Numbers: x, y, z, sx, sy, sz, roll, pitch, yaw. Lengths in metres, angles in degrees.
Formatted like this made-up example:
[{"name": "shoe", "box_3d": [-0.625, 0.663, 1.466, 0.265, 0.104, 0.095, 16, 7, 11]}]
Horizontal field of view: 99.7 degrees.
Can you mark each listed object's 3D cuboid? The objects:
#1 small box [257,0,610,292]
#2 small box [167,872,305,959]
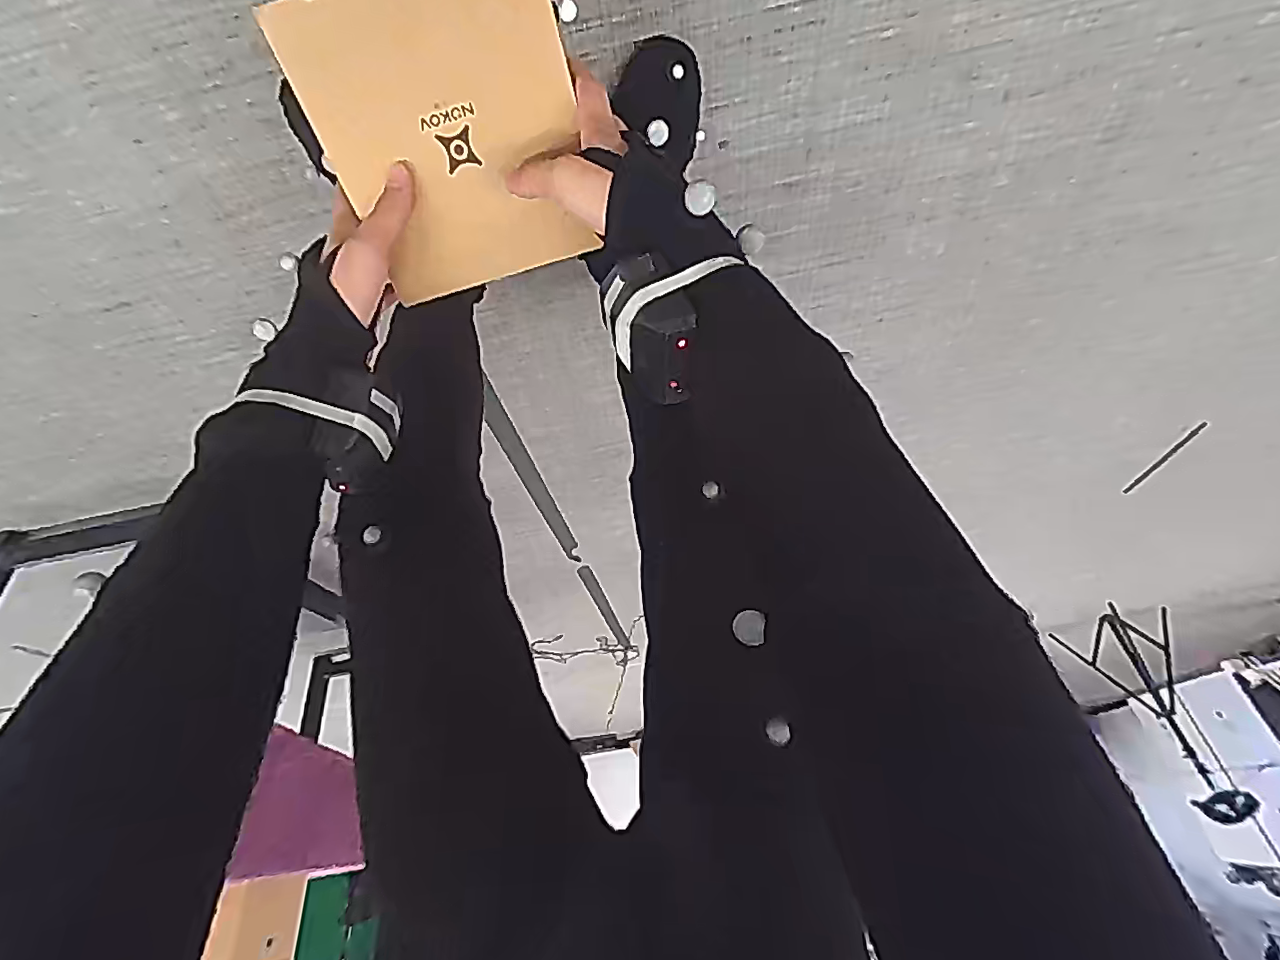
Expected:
[{"name": "small box", "box_3d": [-0.124, -0.270, 0.410, 0.168, 0.176, 0.179, -15, 124, 4]}, {"name": "small box", "box_3d": [-0.894, 0.992, 1.210, 0.168, 0.176, 0.179, -13, 146, 7]}]
